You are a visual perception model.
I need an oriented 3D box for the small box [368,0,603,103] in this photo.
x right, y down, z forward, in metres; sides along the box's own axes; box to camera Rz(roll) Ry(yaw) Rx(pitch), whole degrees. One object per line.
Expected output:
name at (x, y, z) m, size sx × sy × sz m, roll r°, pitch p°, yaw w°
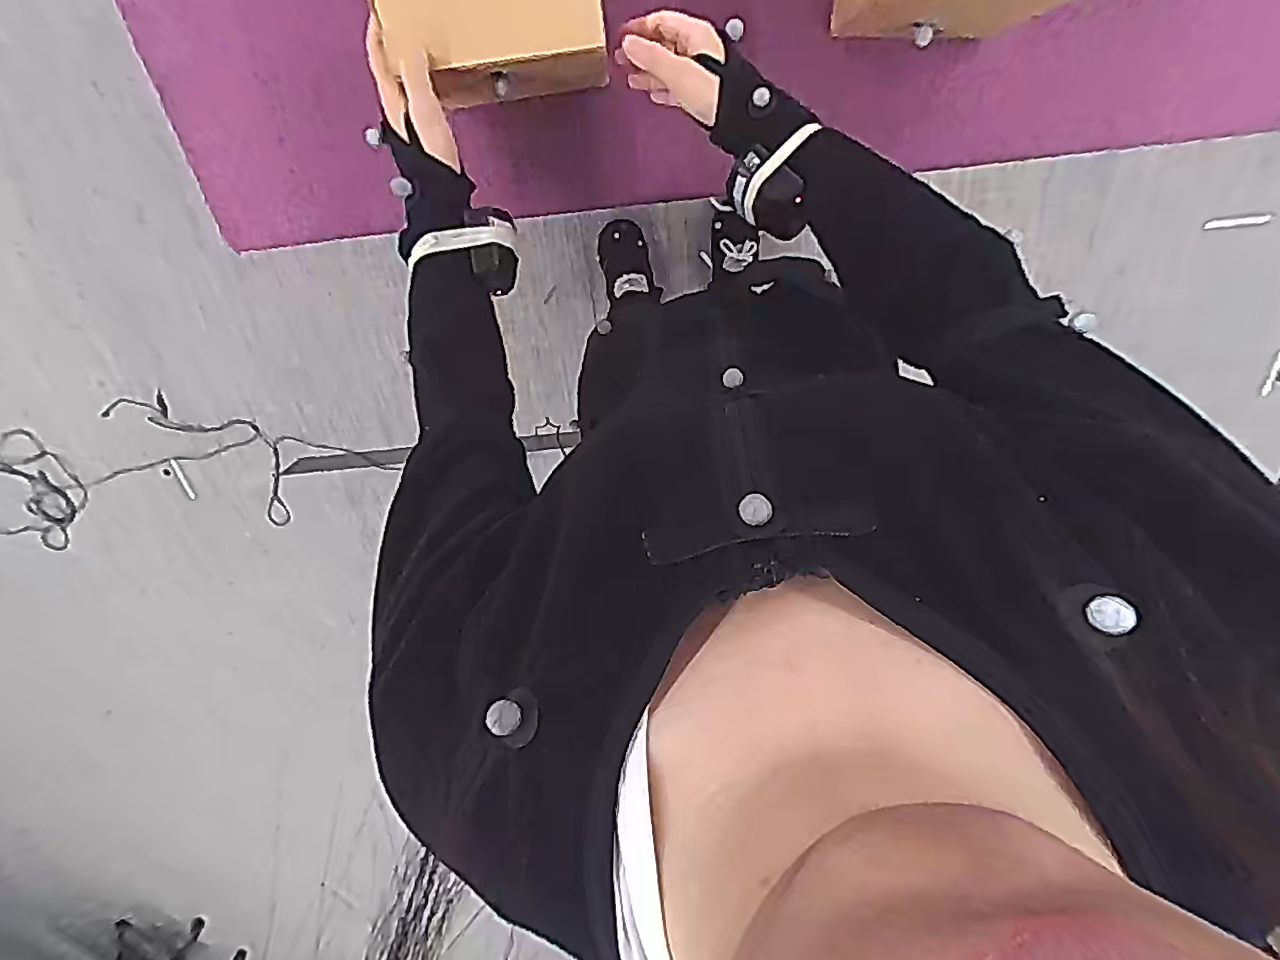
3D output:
small box at (-0.128, -0.441, 0.463) m, size 0.179 × 0.176 × 0.168 m, roll -7°, pitch 118°, yaw 2°

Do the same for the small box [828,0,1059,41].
small box at (0.271, -0.495, 0.445) m, size 0.168 × 0.176 × 0.179 m, roll 0°, pitch 118°, yaw -1°
